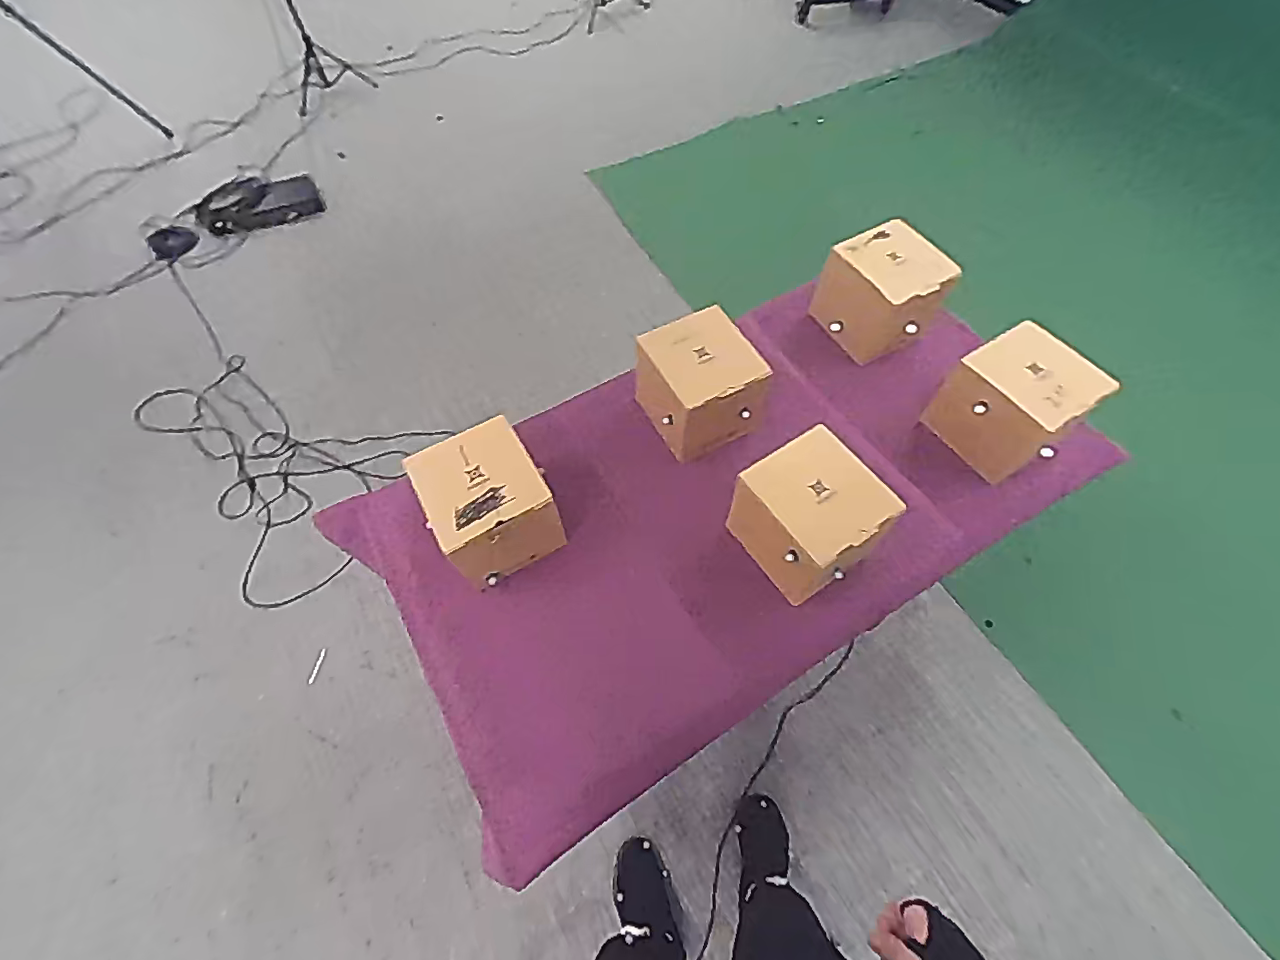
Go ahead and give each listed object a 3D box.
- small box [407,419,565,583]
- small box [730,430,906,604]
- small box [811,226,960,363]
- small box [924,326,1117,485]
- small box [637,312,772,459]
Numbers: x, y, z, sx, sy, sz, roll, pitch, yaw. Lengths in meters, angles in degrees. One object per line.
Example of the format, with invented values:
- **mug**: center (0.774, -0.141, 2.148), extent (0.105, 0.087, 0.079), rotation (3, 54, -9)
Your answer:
- **small box**: center (-0.233, 0.044, 0.852), extent (0.168, 0.176, 0.179), rotation (-27, 63, -15)
- **small box**: center (0.259, 0.062, 0.838), extent (0.168, 0.176, 0.179), rotation (-30, 64, -16)
- **small box**: center (0.472, -0.356, 1.069), extent (0.168, 0.176, 0.179), rotation (-27, 66, -14)
- **small box**: center (0.637, -0.124, 0.933), extent (0.168, 0.176, 0.179), rotation (-29, 63, -13)
- **small box**: center (0.107, -0.160, 0.966), extent (0.168, 0.176, 0.179), rotation (-25, 63, -14)
